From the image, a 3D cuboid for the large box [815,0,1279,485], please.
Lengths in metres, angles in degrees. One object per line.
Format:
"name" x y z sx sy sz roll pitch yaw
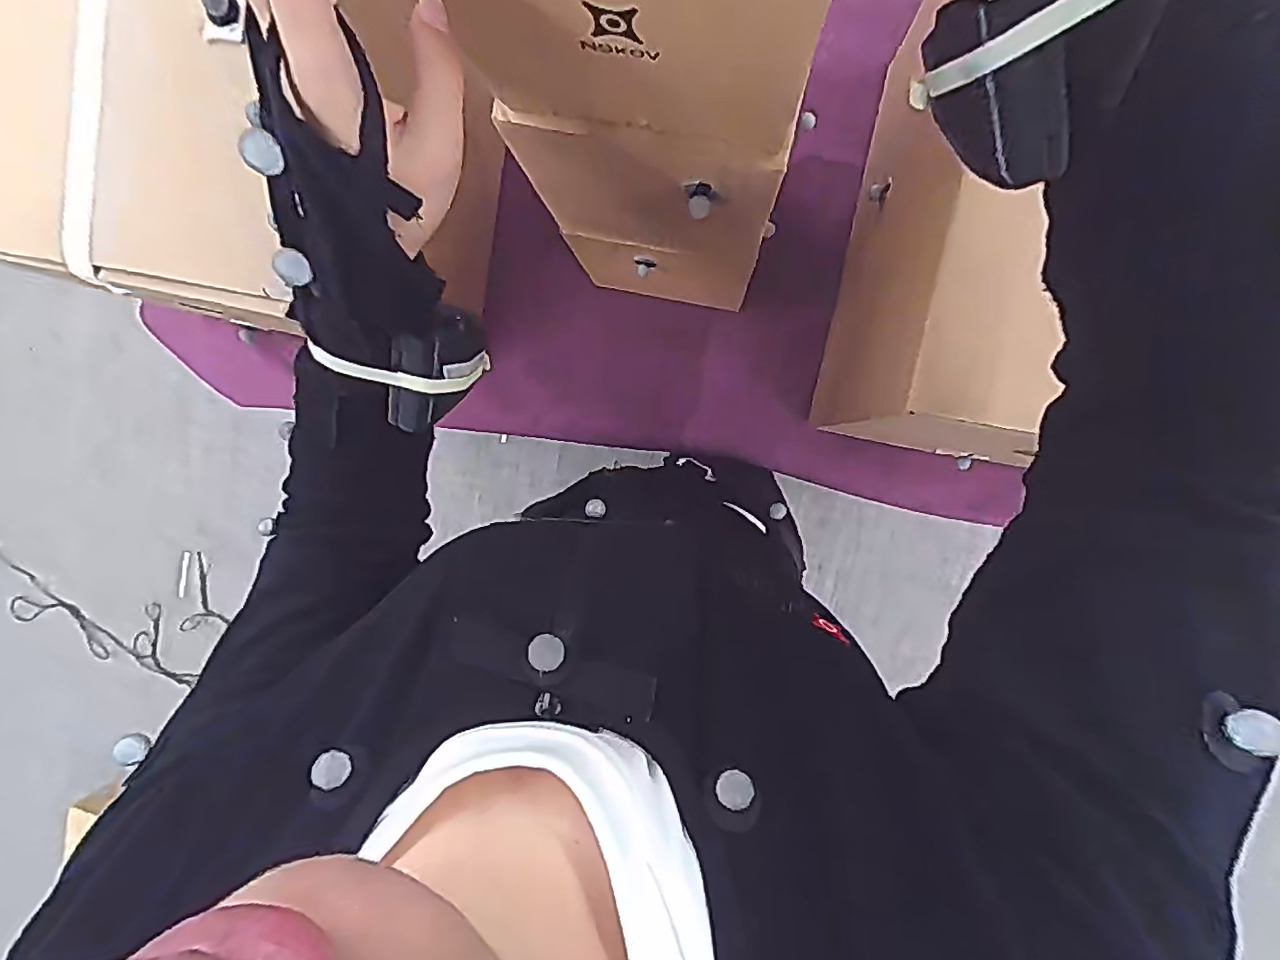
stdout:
"large box" 0.357 -0.216 0.439 0.320 0.320 0.408 11 94 4
